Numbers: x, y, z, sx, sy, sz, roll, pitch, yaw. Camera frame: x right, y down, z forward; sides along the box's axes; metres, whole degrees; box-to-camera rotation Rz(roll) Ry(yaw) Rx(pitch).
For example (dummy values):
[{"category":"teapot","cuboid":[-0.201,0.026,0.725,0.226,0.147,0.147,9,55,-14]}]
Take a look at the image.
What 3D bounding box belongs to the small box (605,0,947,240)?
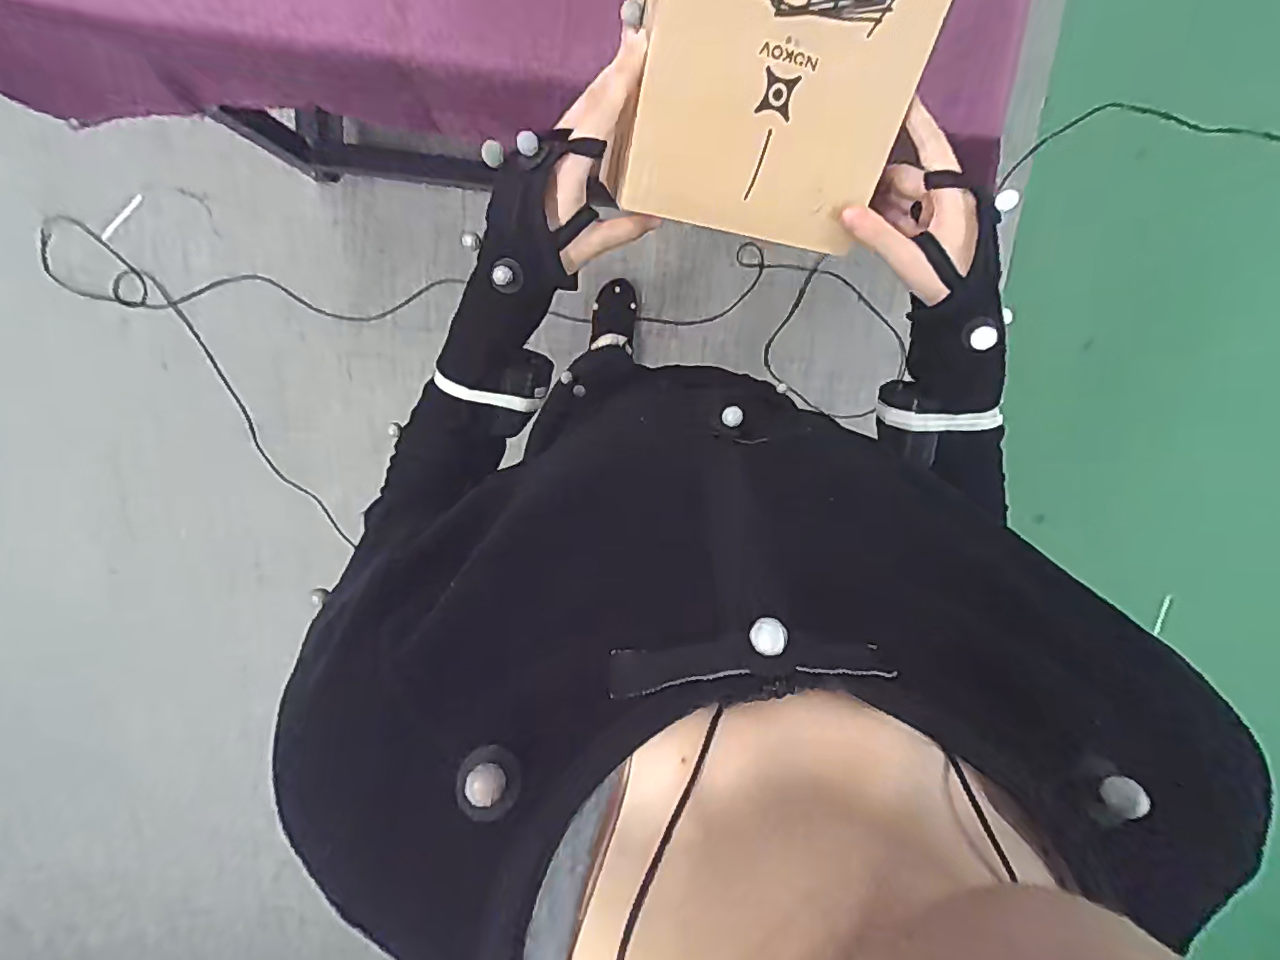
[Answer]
[{"category":"small box","cuboid":[0.073,-0.290,0.375,0.168,0.176,0.179,6,124,-14]}]
